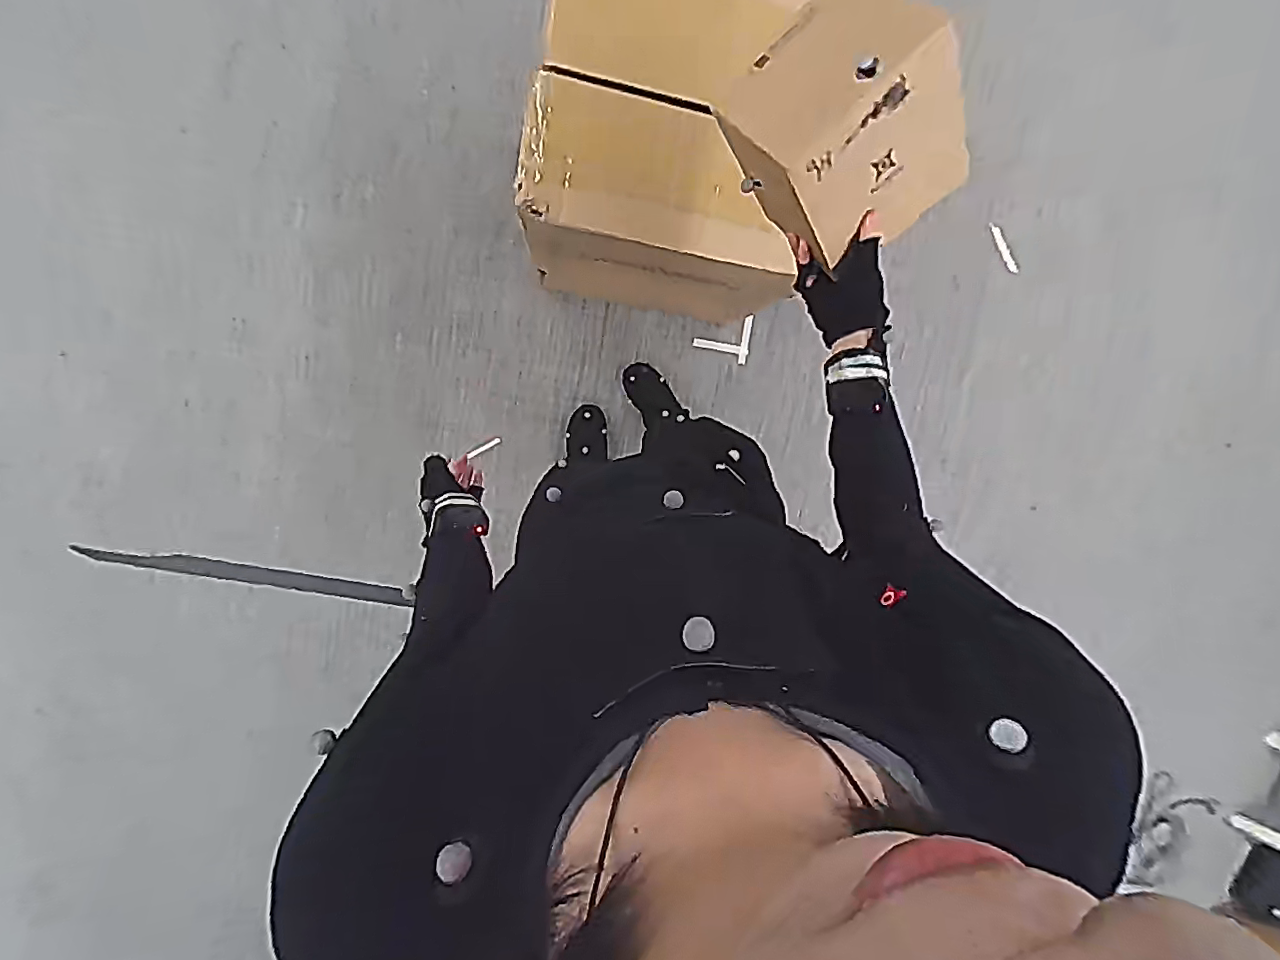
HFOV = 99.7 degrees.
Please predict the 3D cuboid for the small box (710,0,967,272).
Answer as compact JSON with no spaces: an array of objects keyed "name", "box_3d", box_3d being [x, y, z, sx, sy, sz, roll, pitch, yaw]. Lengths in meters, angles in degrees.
[{"name":"small box","box_3d":[0.205,-0.368,0.571,0.168,0.176,0.179,-39,142,18]}]
